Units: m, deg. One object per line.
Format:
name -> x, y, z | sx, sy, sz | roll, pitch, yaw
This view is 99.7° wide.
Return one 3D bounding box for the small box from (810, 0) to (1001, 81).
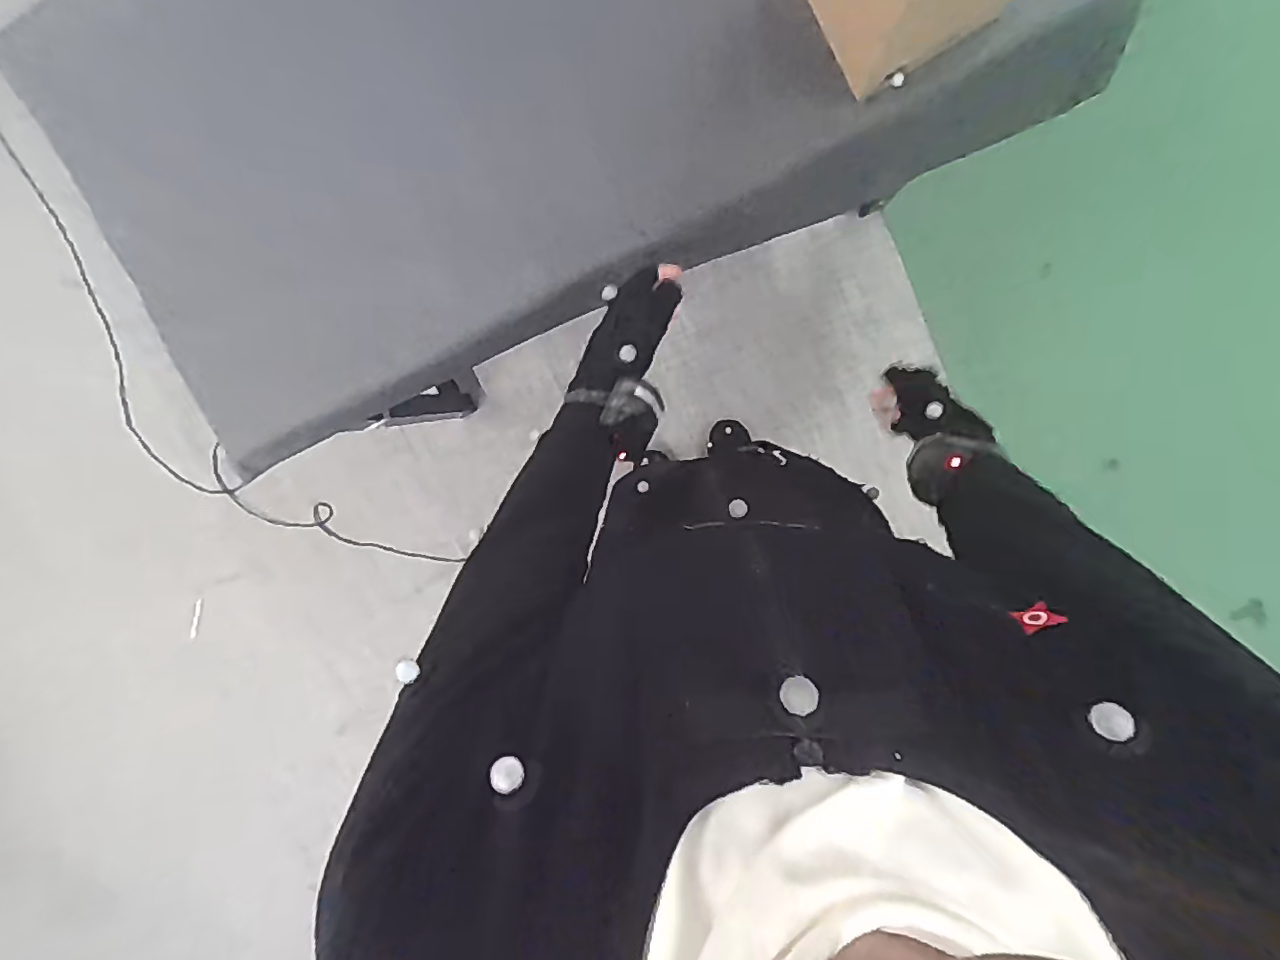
small box -> 0.265, -0.530, 0.512 | 0.168, 0.176, 0.179 | -28, 94, 10
